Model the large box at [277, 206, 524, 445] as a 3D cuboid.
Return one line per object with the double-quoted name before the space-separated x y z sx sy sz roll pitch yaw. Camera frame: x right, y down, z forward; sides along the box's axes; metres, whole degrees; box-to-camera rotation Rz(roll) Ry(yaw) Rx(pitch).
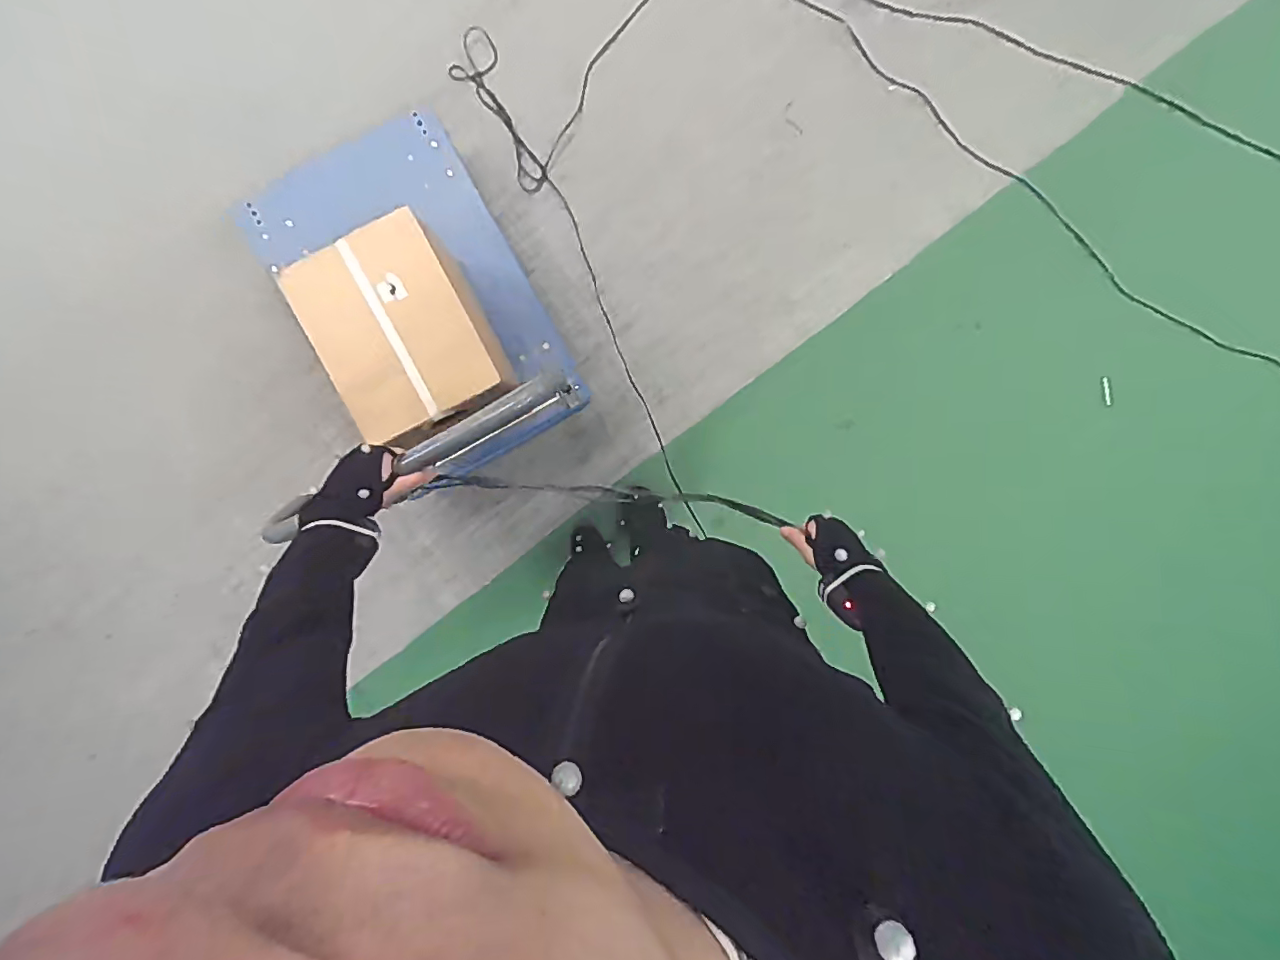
"large box" -0.520 -0.326 1.264 0.320 0.320 0.408 -27 93 -1
